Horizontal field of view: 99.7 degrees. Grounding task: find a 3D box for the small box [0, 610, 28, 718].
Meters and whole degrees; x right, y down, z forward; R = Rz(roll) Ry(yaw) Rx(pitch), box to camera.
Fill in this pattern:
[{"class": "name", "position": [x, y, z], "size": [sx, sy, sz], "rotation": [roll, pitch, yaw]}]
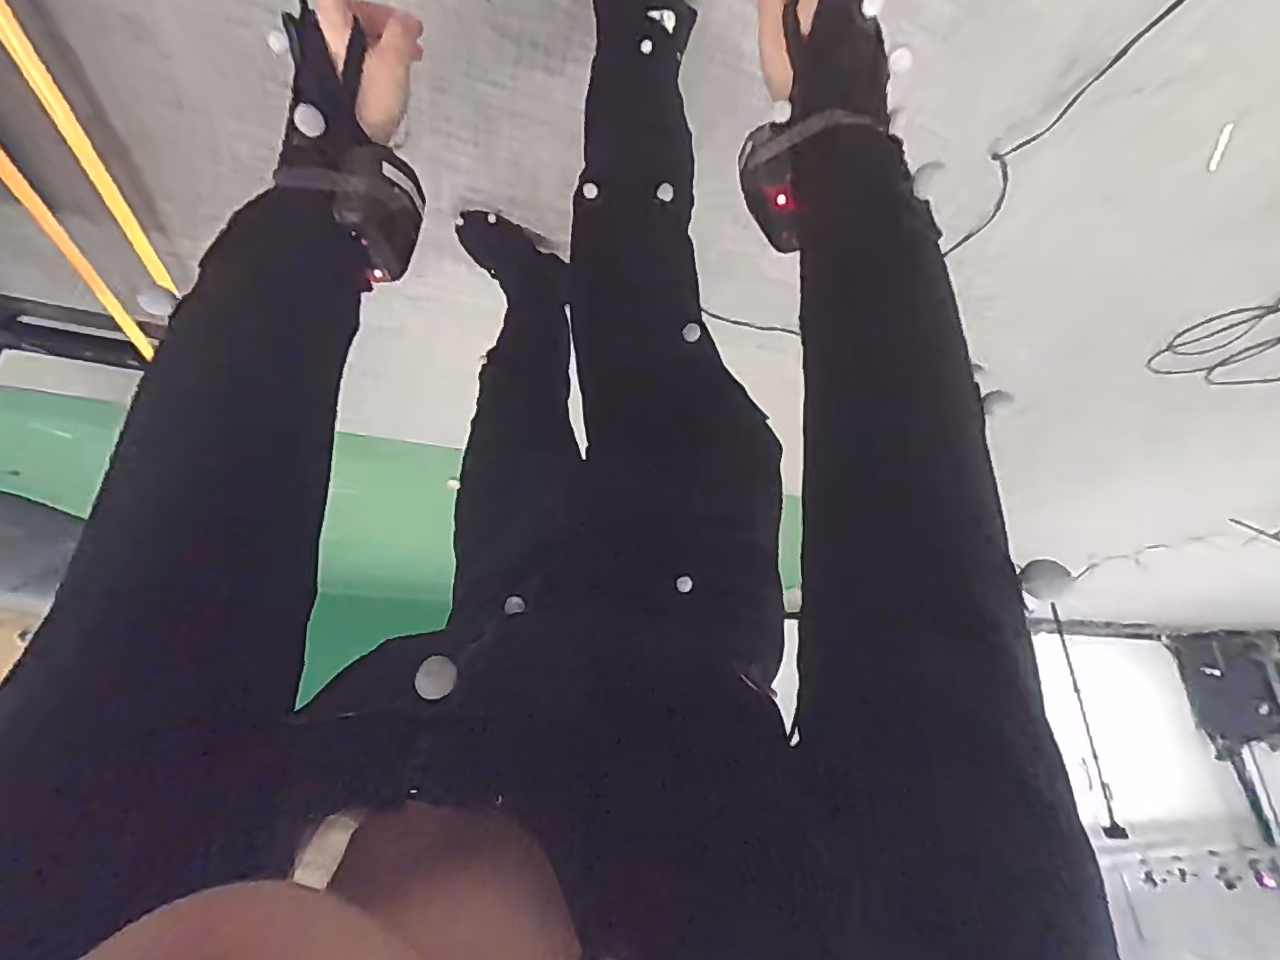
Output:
[{"class": "small box", "position": [-1.038, 0.260, 0.762], "size": [0.179, 0.176, 0.168], "rotation": [8, 157, -15]}]
